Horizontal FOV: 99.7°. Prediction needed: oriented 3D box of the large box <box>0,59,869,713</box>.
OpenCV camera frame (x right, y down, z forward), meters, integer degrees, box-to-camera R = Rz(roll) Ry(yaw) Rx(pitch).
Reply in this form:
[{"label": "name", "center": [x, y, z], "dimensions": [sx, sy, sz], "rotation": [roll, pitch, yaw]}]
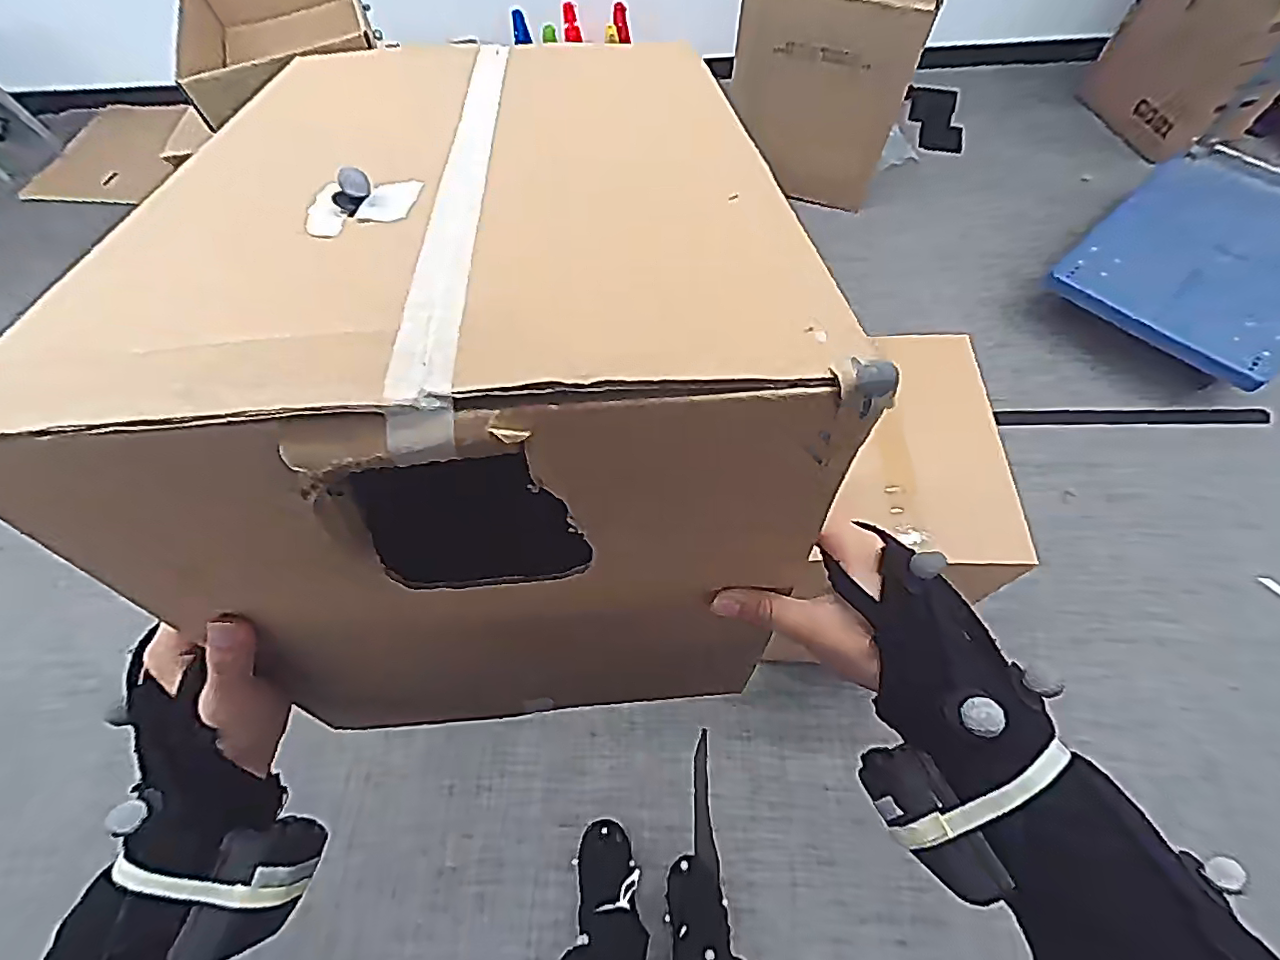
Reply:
[{"label": "large box", "center": [-0.092, -0.081, 0.424], "dimensions": [0.320, 0.320, 0.408], "rotation": [-5, 52, -4]}]
